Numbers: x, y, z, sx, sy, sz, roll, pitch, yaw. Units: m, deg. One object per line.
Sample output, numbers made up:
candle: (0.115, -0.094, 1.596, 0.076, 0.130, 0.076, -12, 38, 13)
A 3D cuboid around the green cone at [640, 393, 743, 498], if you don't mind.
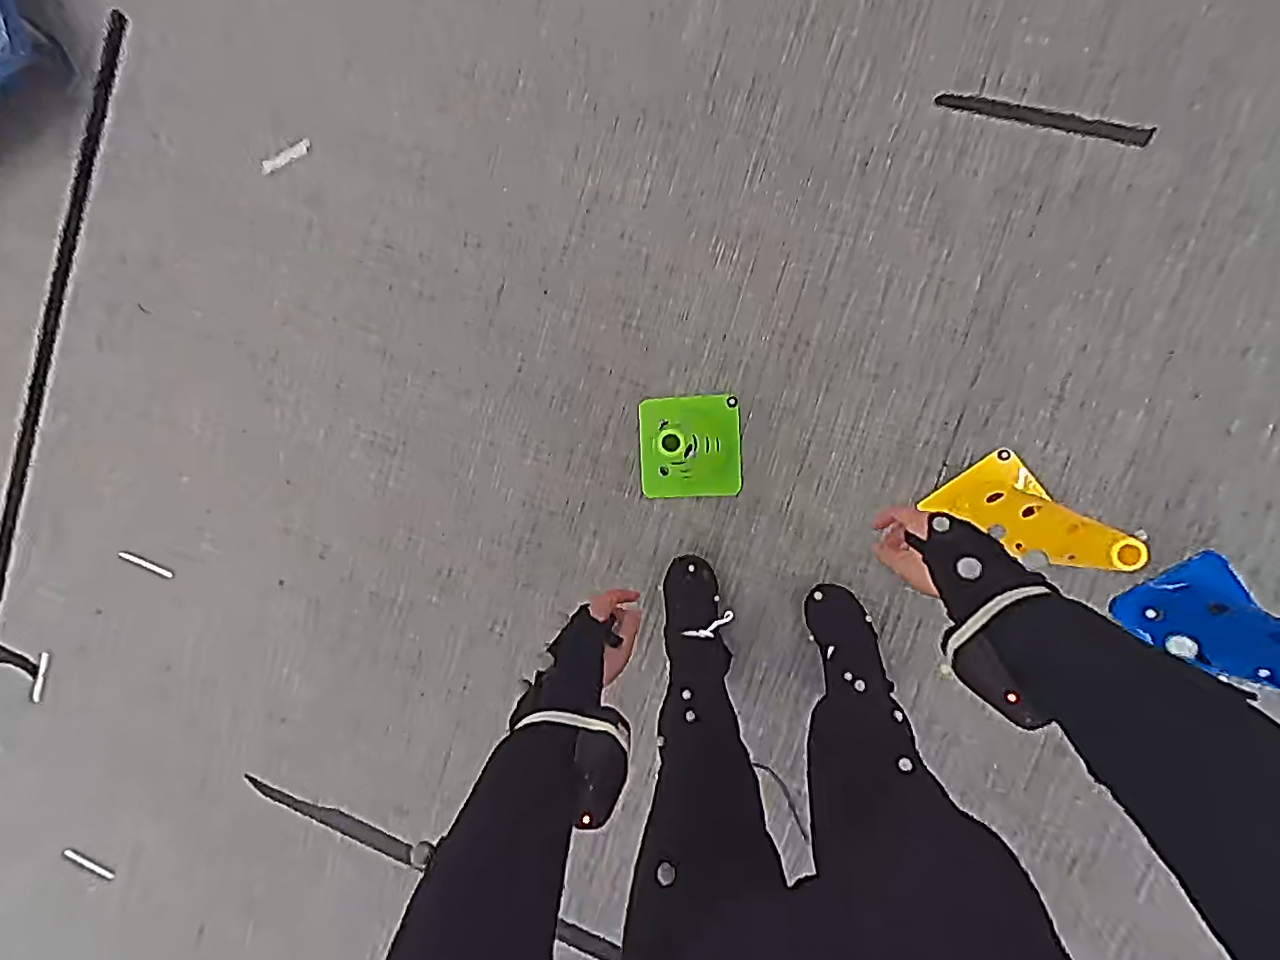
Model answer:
green cone: (0.071, -0.056, 0.909, 0.200, 0.368, 0.202, -3, 93, 10)
